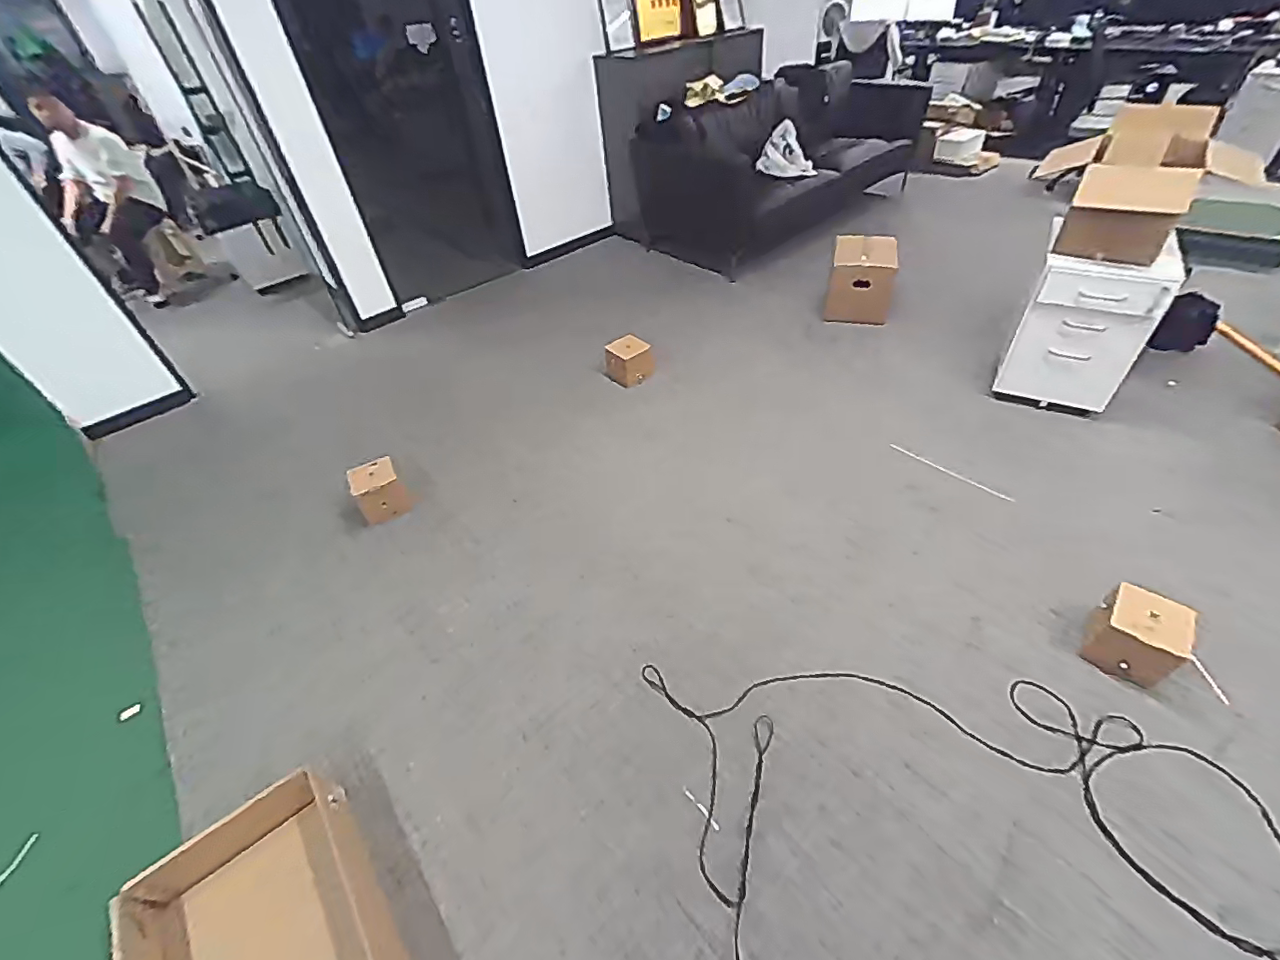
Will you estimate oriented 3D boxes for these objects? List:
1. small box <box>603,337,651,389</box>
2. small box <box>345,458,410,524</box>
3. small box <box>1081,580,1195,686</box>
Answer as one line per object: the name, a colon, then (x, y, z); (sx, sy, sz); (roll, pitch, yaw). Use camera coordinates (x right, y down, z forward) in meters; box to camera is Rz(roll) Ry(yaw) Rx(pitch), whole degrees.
small box: (-0.063, -0.580, 2.687); (0.168, 0.176, 0.179); (-34, 51, -25)
small box: (-1.026, 0.052, 2.120); (0.168, 0.176, 0.179); (-24, 46, -18)
small box: (1.334, 0.412, 1.457); (0.168, 0.176, 0.179); (27, 53, 30)
